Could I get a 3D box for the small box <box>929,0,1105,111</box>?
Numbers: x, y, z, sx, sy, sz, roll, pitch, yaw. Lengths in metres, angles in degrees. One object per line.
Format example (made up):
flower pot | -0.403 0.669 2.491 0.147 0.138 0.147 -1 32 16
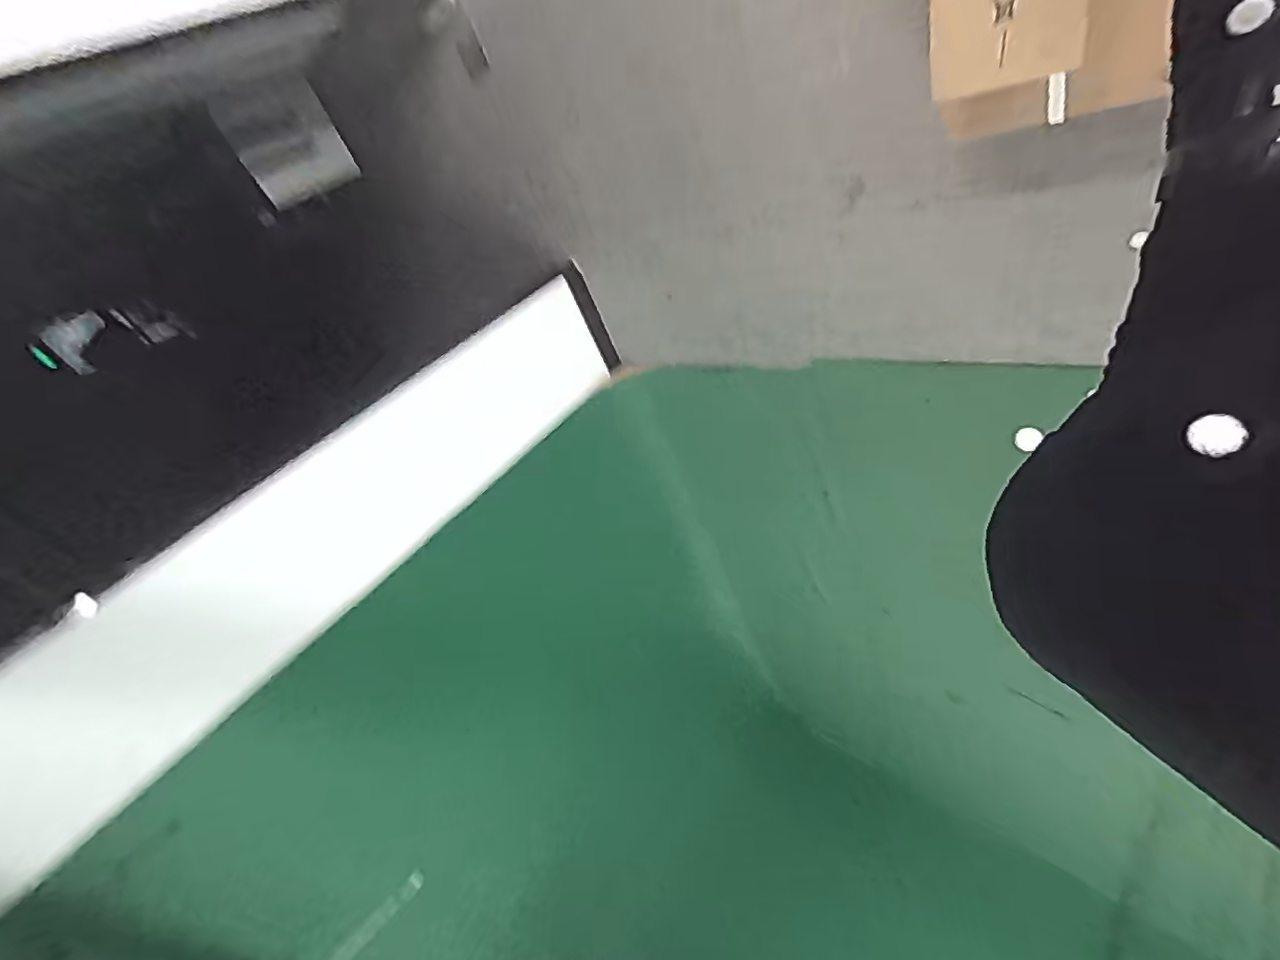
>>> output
small box | 0.481 -0.604 0.682 0.168 0.176 0.179 14 140 37
